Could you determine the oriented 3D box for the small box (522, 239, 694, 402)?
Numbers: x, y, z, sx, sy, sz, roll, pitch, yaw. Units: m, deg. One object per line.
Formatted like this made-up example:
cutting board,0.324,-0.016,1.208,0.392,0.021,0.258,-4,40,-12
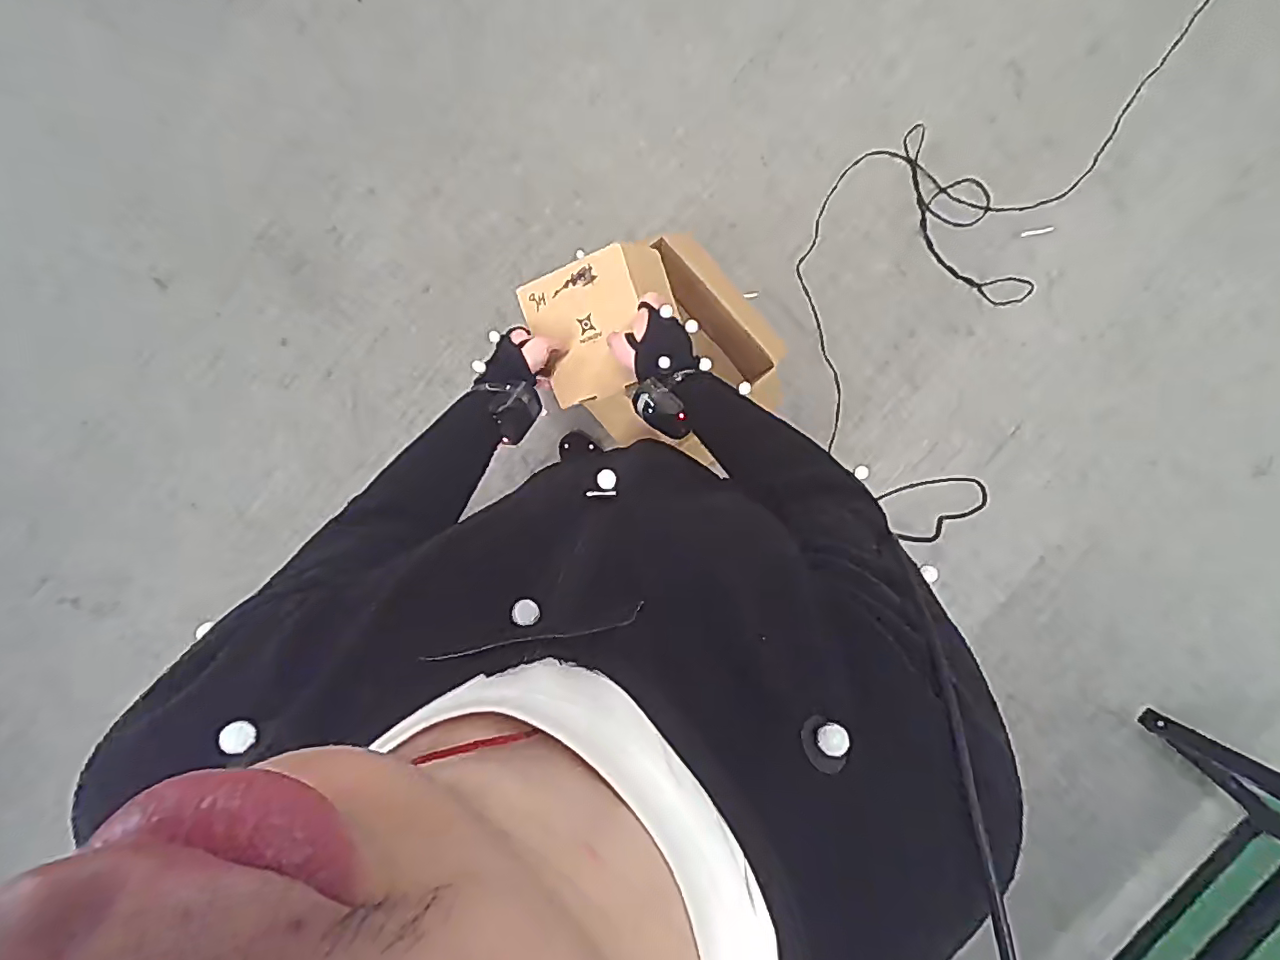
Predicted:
small box,-0.037,-0.237,0.805,0.168,0.176,0.179,-16,102,27
